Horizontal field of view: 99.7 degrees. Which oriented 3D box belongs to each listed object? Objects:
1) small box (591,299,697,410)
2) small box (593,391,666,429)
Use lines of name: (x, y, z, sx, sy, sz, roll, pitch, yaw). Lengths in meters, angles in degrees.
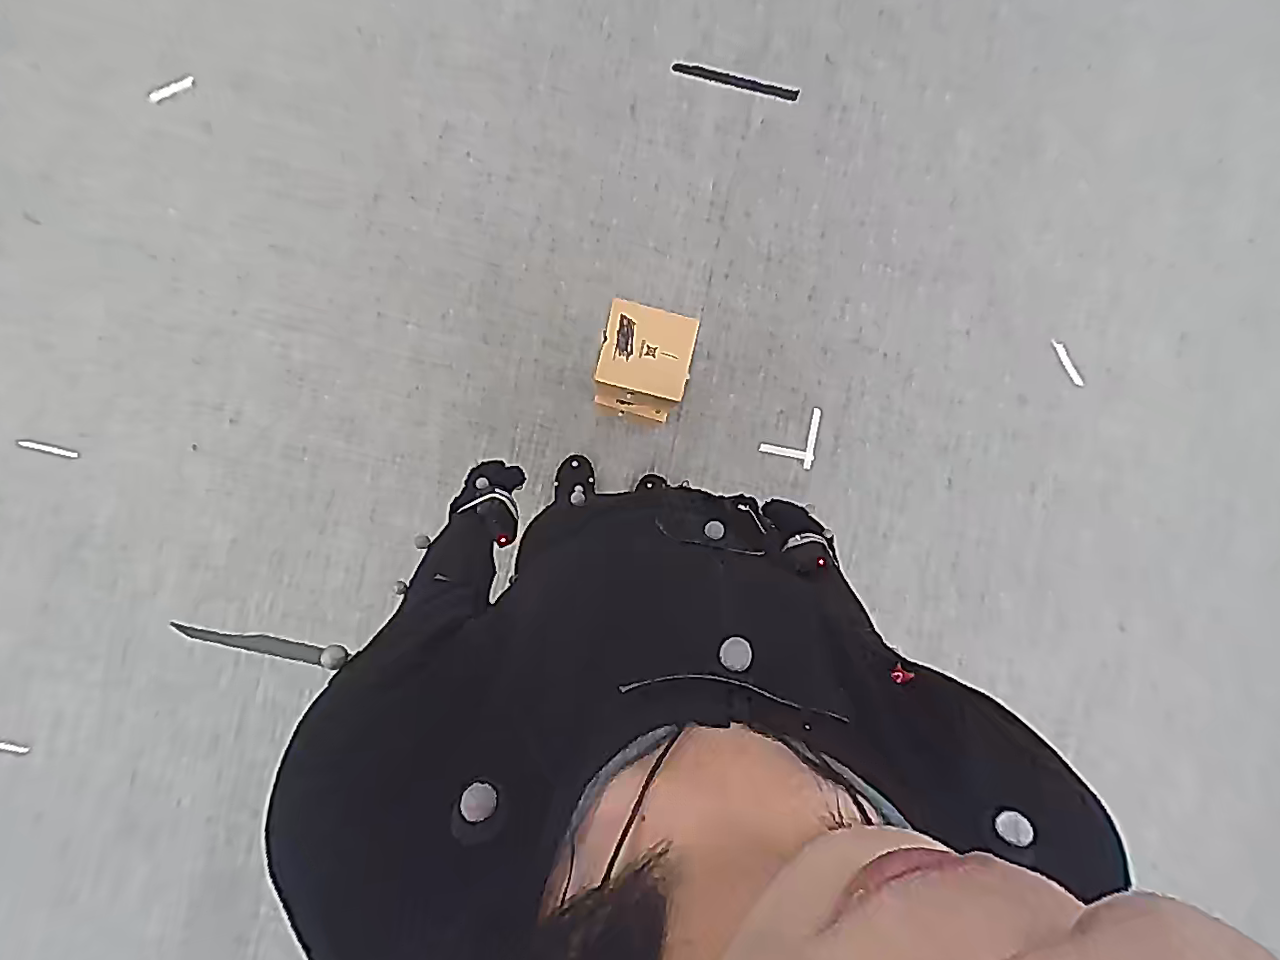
small box: (0.003, -0.249, 1.116, 0.179, 0.176, 0.168, 14, 89, -4)
small box: (-0.010, -0.231, 1.281, 0.168, 0.176, 0.179, 16, 88, -3)
